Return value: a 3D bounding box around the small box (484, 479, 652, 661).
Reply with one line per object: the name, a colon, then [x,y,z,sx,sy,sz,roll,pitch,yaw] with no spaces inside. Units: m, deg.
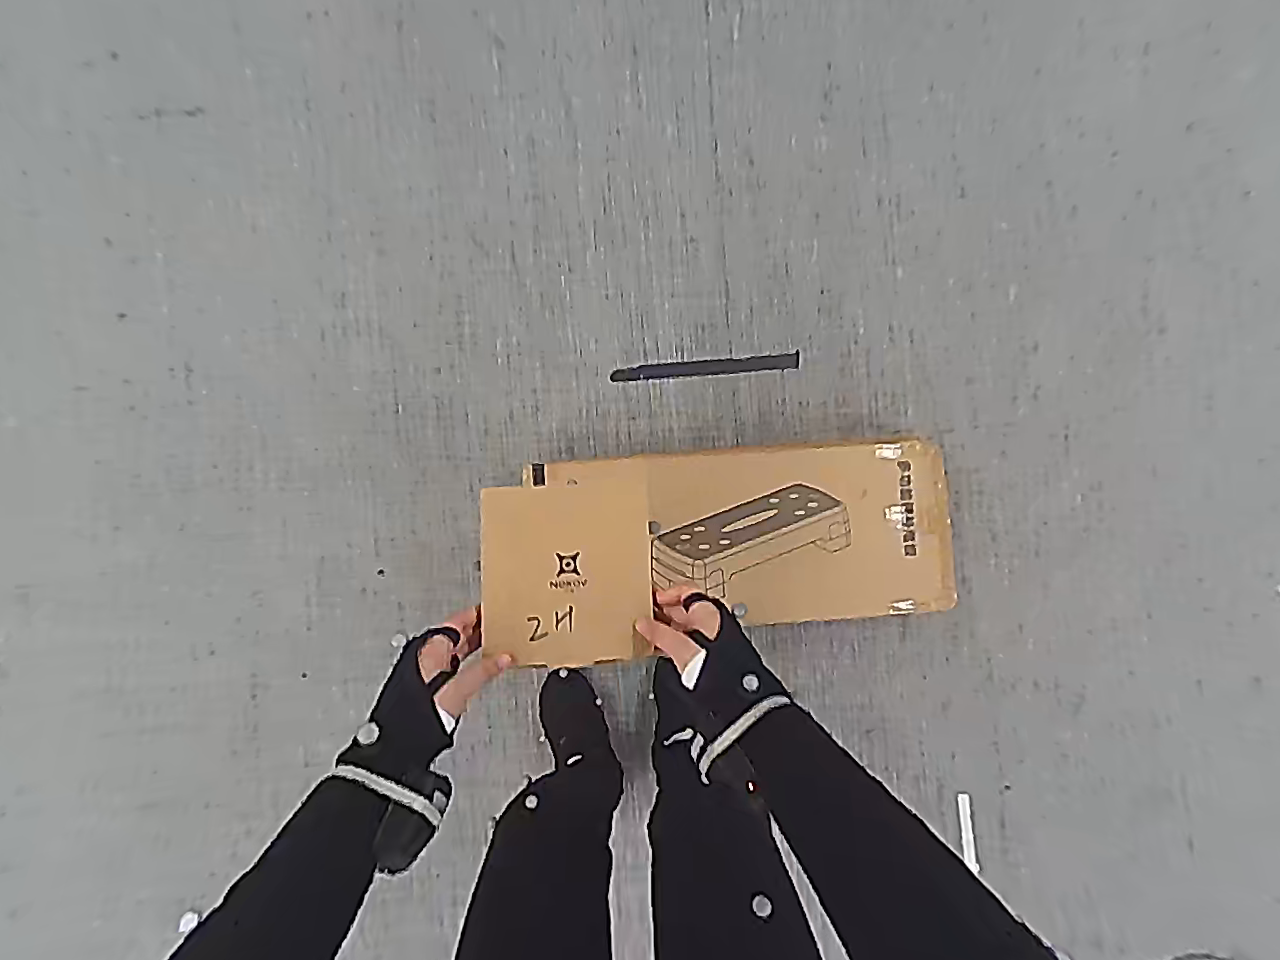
small box: [-0.079,0.098,0.618,0.168,0.176,0.179,-2,83,-5]
